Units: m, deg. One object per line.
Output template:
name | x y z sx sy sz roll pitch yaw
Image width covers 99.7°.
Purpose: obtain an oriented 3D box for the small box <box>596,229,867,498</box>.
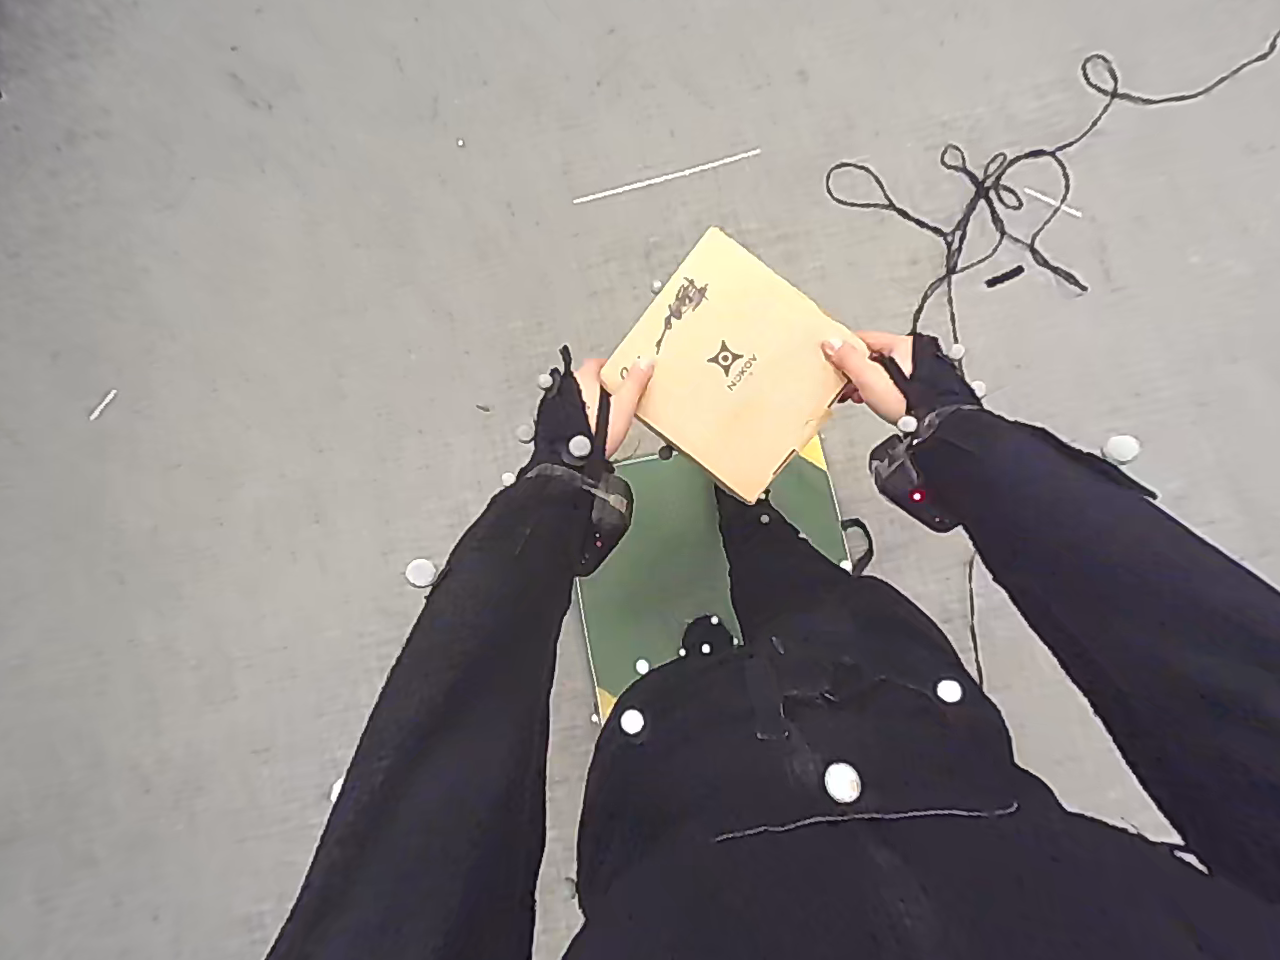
small box | 0.080 -0.104 0.542 0.179 0.176 0.168 38 93 0
